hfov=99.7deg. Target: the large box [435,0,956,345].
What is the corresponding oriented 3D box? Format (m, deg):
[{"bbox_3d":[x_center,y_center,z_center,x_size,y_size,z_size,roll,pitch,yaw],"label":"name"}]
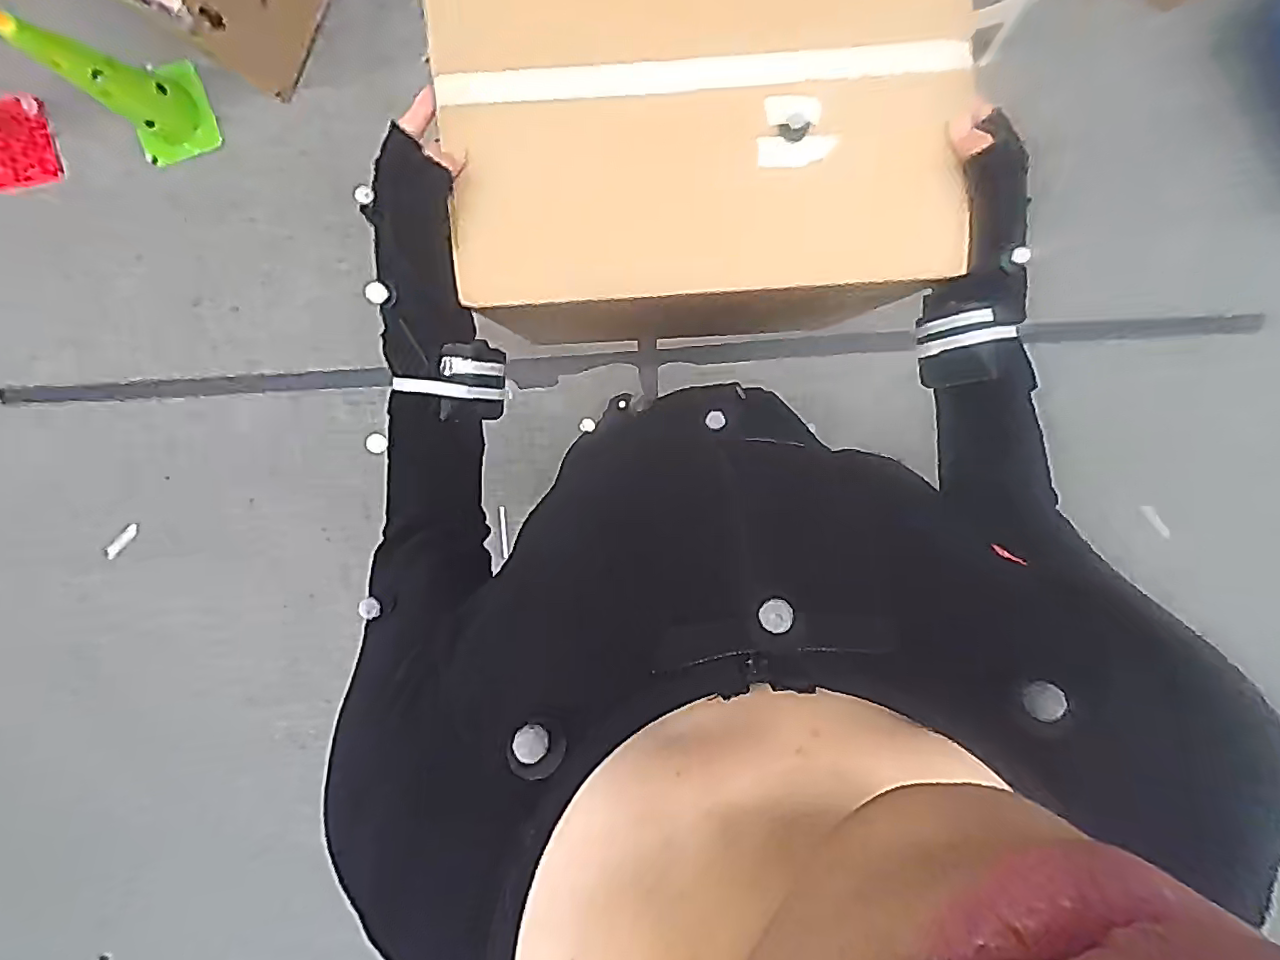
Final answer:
[{"bbox_3d":[0.043,-0.331,0.568,0.408,0.320,0.320,-4,98,-1],"label":"large box"}]
